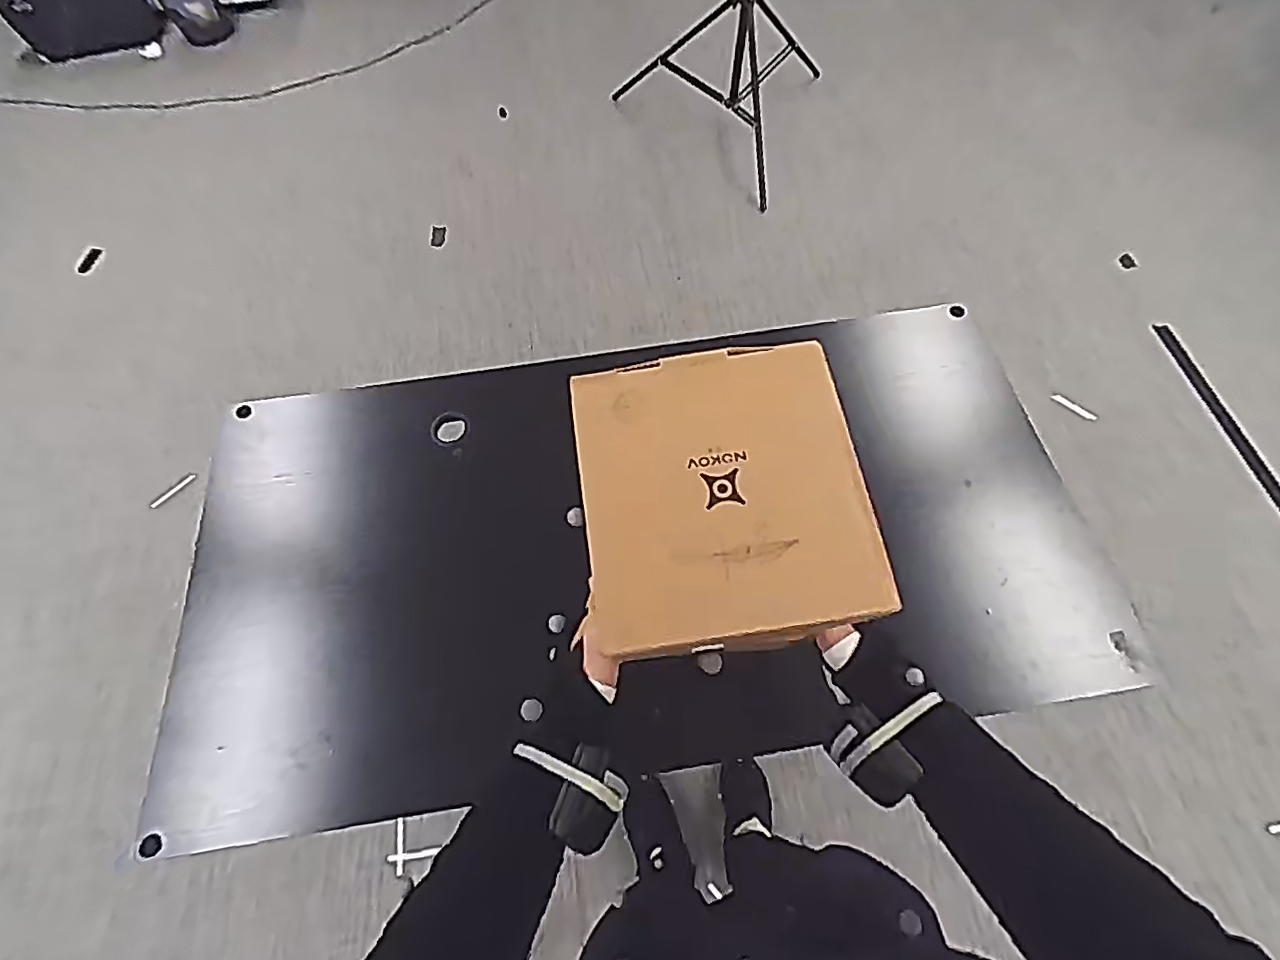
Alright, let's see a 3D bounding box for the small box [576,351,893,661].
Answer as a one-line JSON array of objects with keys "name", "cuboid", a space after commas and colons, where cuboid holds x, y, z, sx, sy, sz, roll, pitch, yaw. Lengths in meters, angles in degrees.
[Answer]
[{"name": "small box", "cuboid": [0.051, 0.032, 0.401, 0.168, 0.176, 0.179, -9, 71, -1]}]
